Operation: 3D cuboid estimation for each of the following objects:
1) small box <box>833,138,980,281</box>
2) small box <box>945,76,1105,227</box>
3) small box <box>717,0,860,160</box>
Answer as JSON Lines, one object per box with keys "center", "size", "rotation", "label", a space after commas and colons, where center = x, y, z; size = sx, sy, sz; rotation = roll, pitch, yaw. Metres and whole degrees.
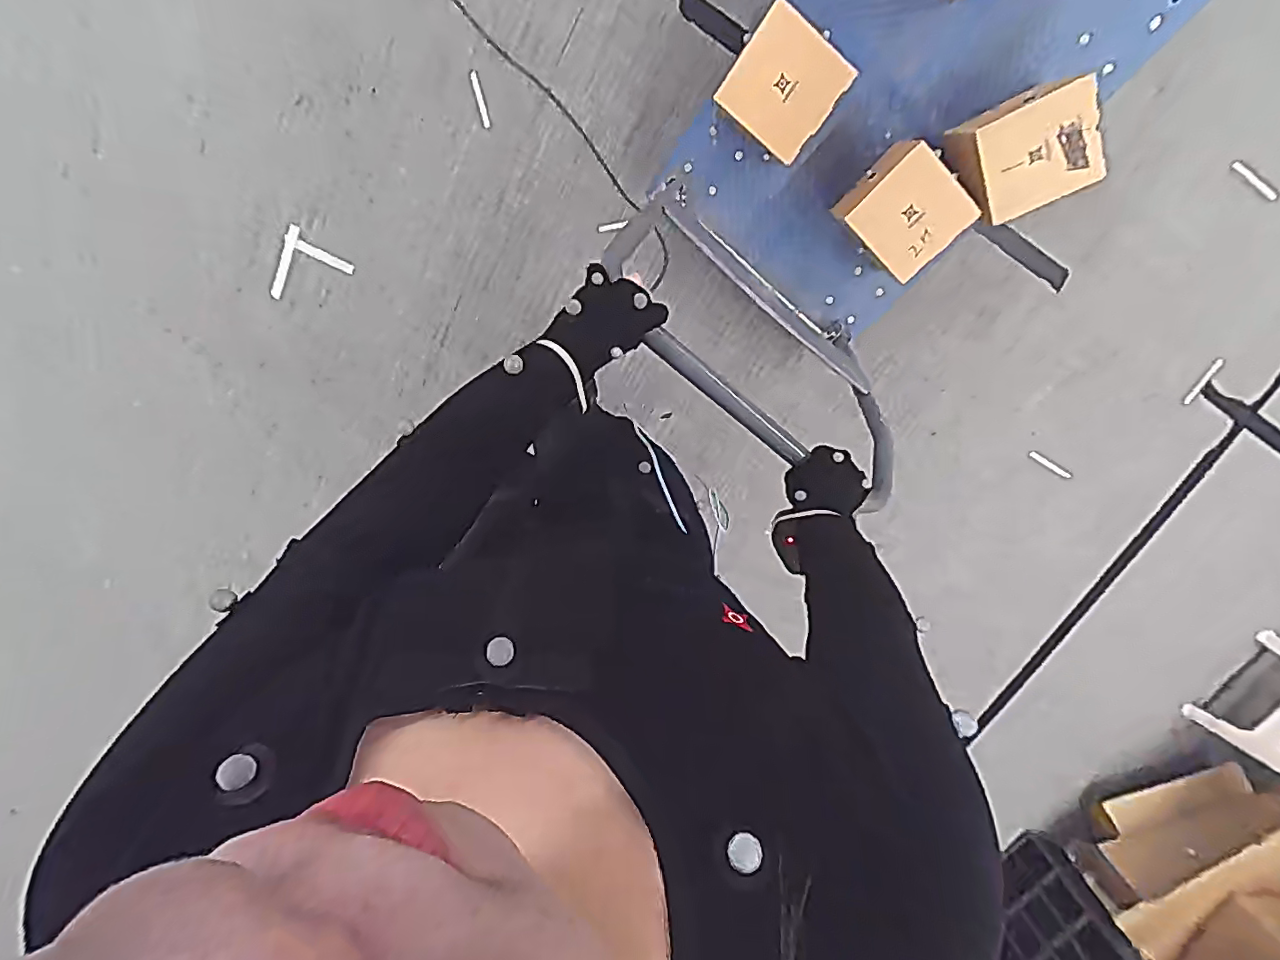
{"center": [0.497, -0.516, 1.036], "size": [0.179, 0.176, 0.168], "rotation": [40, 119, -15], "label": "small box"}
{"center": [0.680, -0.582, 0.968], "size": [0.179, 0.176, 0.168], "rotation": [-19, 116, 20], "label": "small box"}
{"center": [0.252, -0.702, 0.963], "size": [0.179, 0.176, 0.168], "rotation": [34, 119, -14], "label": "small box"}
